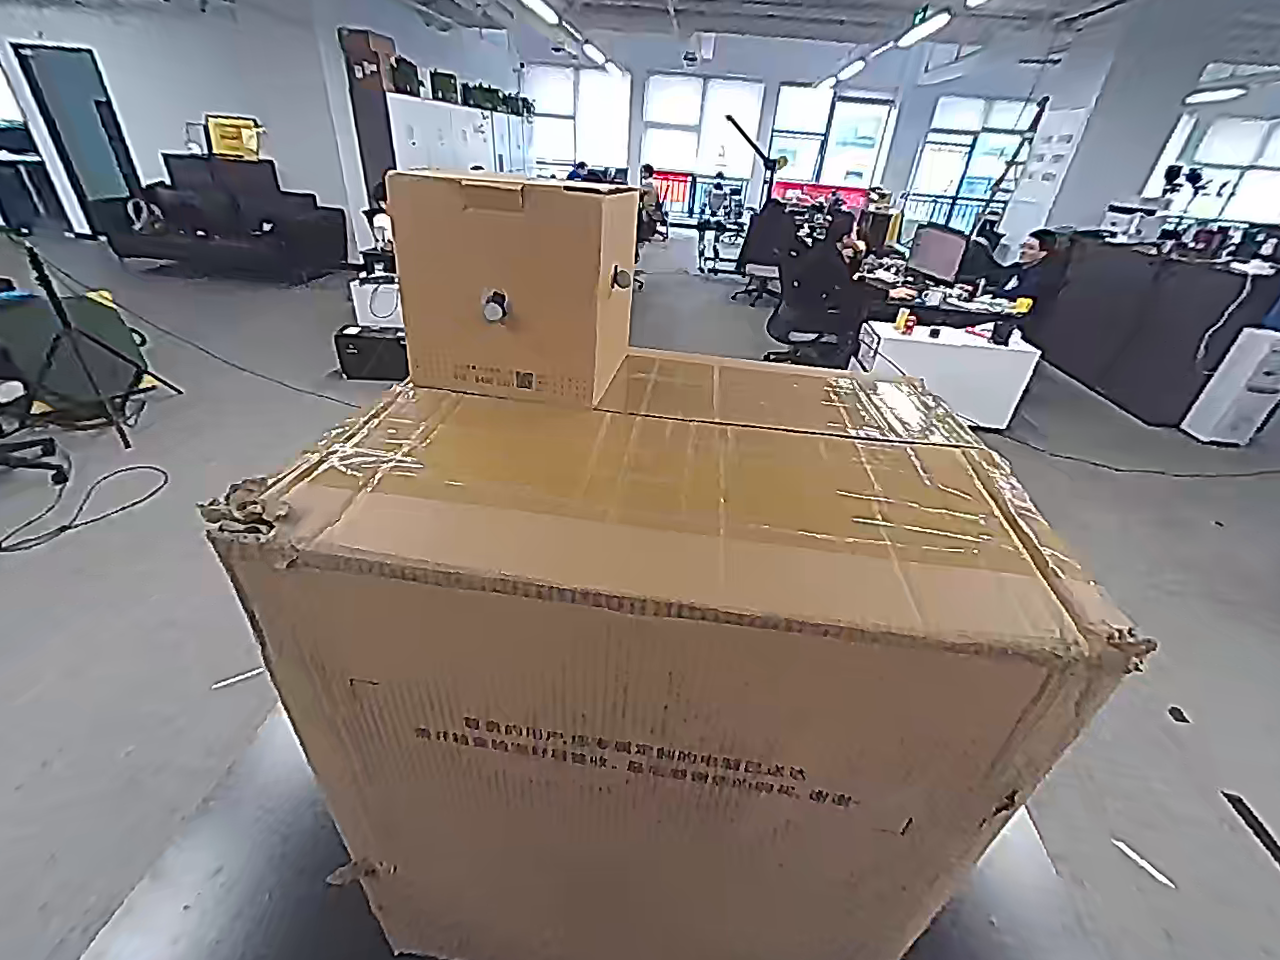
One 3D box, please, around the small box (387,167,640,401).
[{"bbox_3d":[-0.097,-0.183,0.495,0.168,0.176,0.179,8,30,4],"label":"small box"}]
